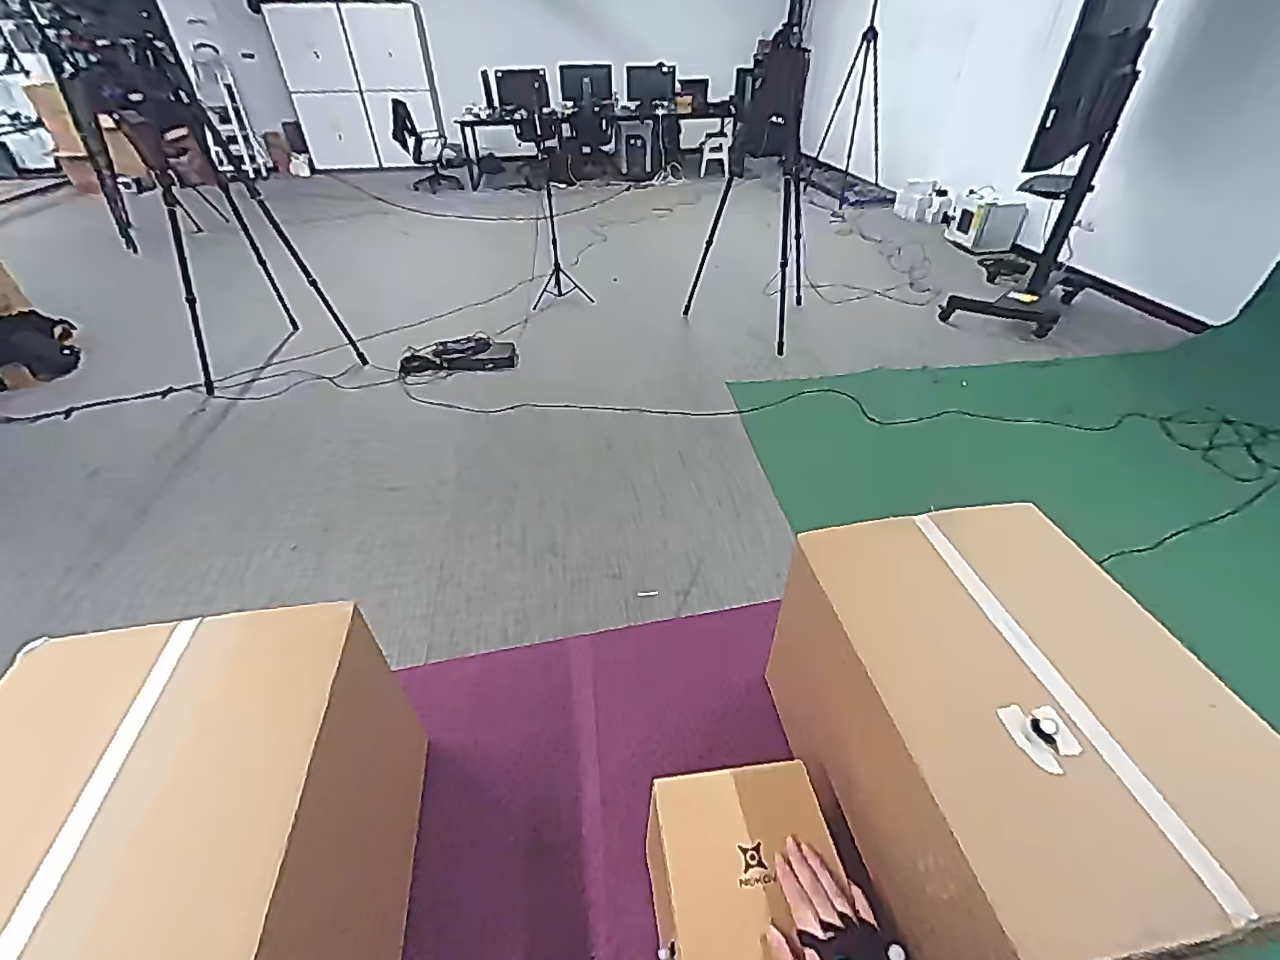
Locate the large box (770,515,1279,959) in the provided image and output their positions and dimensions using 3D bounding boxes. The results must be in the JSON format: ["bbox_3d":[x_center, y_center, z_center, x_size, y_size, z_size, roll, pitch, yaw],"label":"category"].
[{"bbox_3d":[0.379,0.295,0.614,0.320,0.320,0.408,-6,40,-6],"label":"large box"}]
